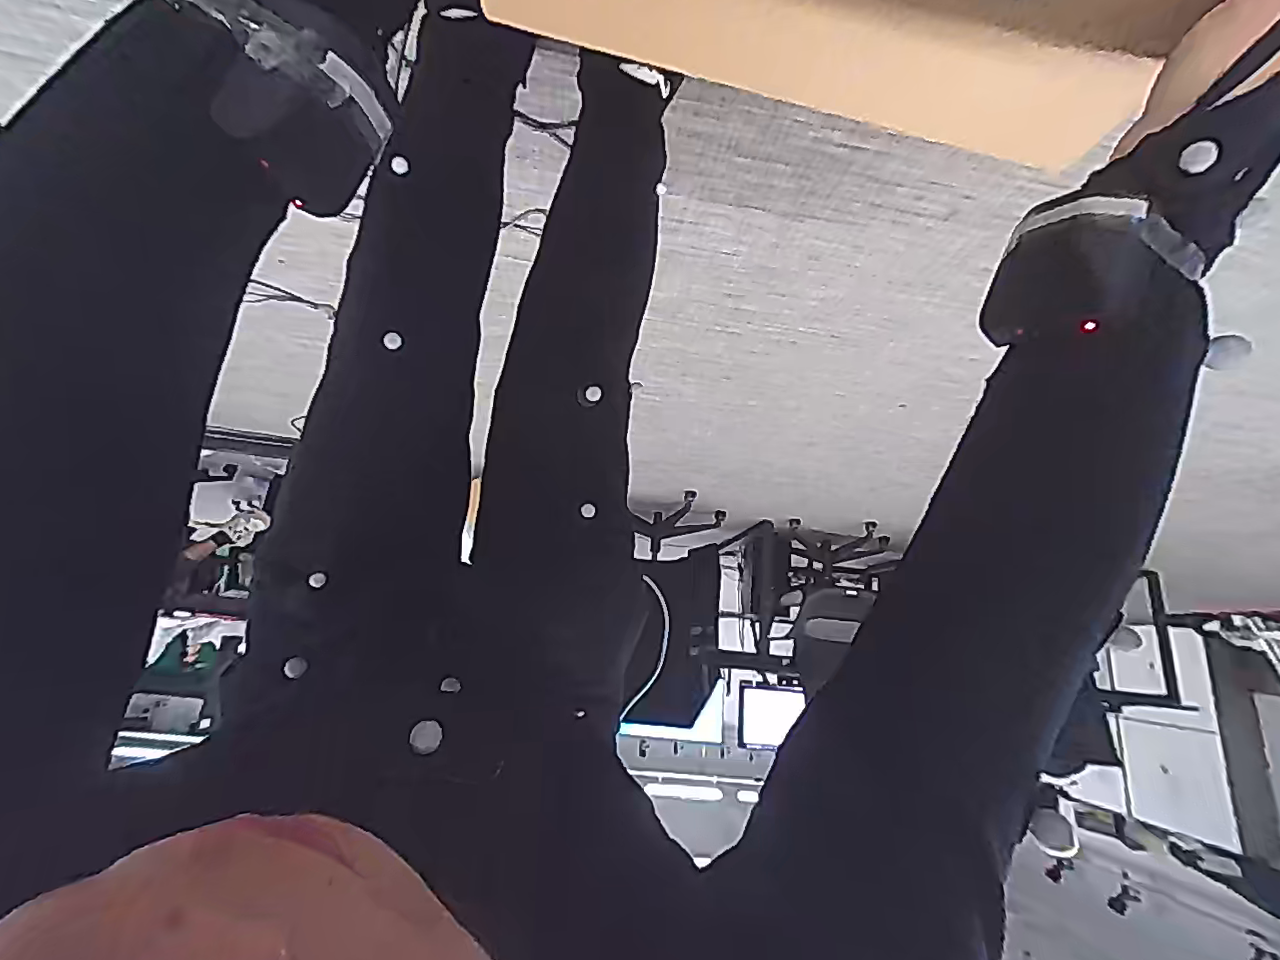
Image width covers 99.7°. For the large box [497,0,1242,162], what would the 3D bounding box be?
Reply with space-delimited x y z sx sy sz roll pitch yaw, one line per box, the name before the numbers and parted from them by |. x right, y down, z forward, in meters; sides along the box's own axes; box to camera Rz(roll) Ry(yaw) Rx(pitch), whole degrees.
large box | 0.141 -0.434 0.258 0.408 0.320 0.320 8 167 -8
